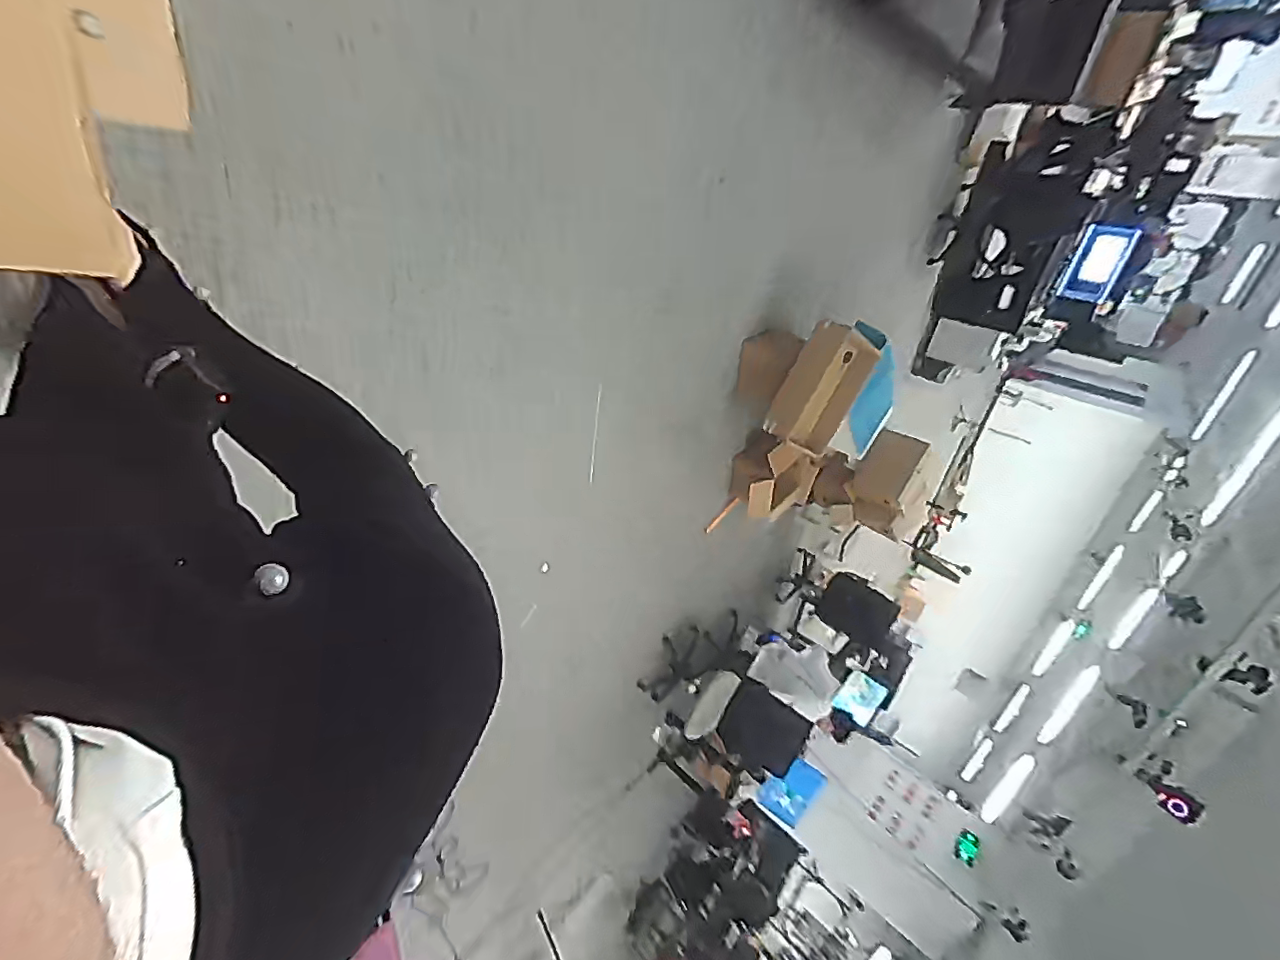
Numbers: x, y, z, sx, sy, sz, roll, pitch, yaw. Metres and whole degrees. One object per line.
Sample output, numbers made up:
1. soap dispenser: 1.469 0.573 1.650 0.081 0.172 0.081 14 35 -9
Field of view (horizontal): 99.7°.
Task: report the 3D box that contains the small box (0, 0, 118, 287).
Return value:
1. small box: -0.378 -0.197 0.252 0.168 0.176 0.179 -12 118 -44
